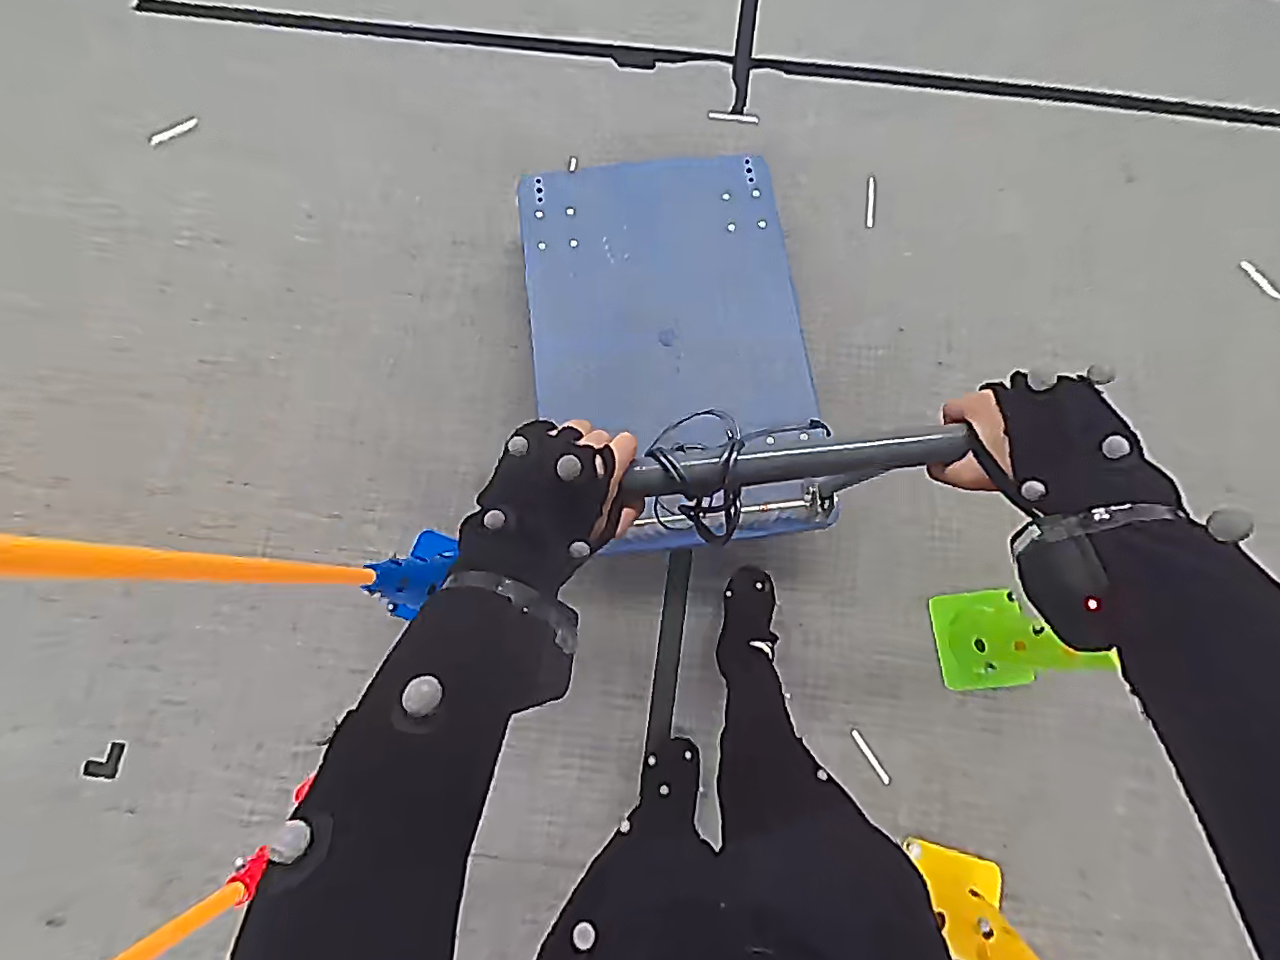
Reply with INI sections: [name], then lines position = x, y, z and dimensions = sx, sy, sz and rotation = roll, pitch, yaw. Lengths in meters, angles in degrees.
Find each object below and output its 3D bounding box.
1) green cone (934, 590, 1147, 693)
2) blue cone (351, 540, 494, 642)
[green cone]
position = 0.745, 0.310, 0.996
dimensions = 0.200, 0.368, 0.202
rotation = -6, 78, -2
[blue cone]
position = -0.432, 0.204, 1.026
dimensions = 0.193, 0.380, 0.192
rotation = 22, 78, 4
